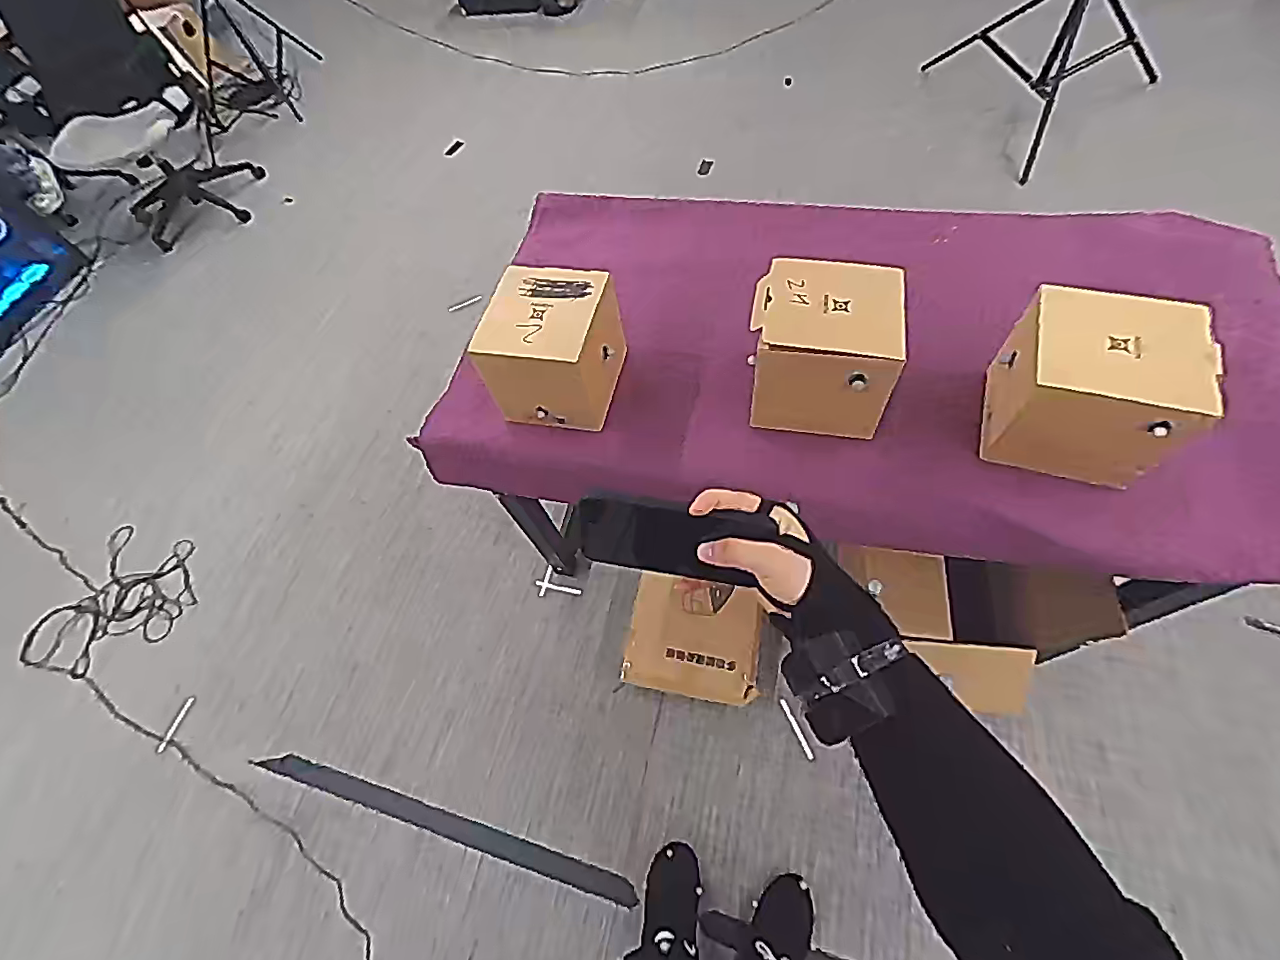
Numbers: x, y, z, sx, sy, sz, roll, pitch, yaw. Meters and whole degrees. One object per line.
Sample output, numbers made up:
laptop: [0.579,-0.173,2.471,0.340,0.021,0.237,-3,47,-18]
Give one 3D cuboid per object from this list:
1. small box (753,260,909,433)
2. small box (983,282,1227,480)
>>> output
small box: [0.260,-0.182,0.762,0.179,0.176,0.168,8,60,12]
small box: [0.563,-0.120,0.684,0.179,0.176,0.168,14,64,15]
